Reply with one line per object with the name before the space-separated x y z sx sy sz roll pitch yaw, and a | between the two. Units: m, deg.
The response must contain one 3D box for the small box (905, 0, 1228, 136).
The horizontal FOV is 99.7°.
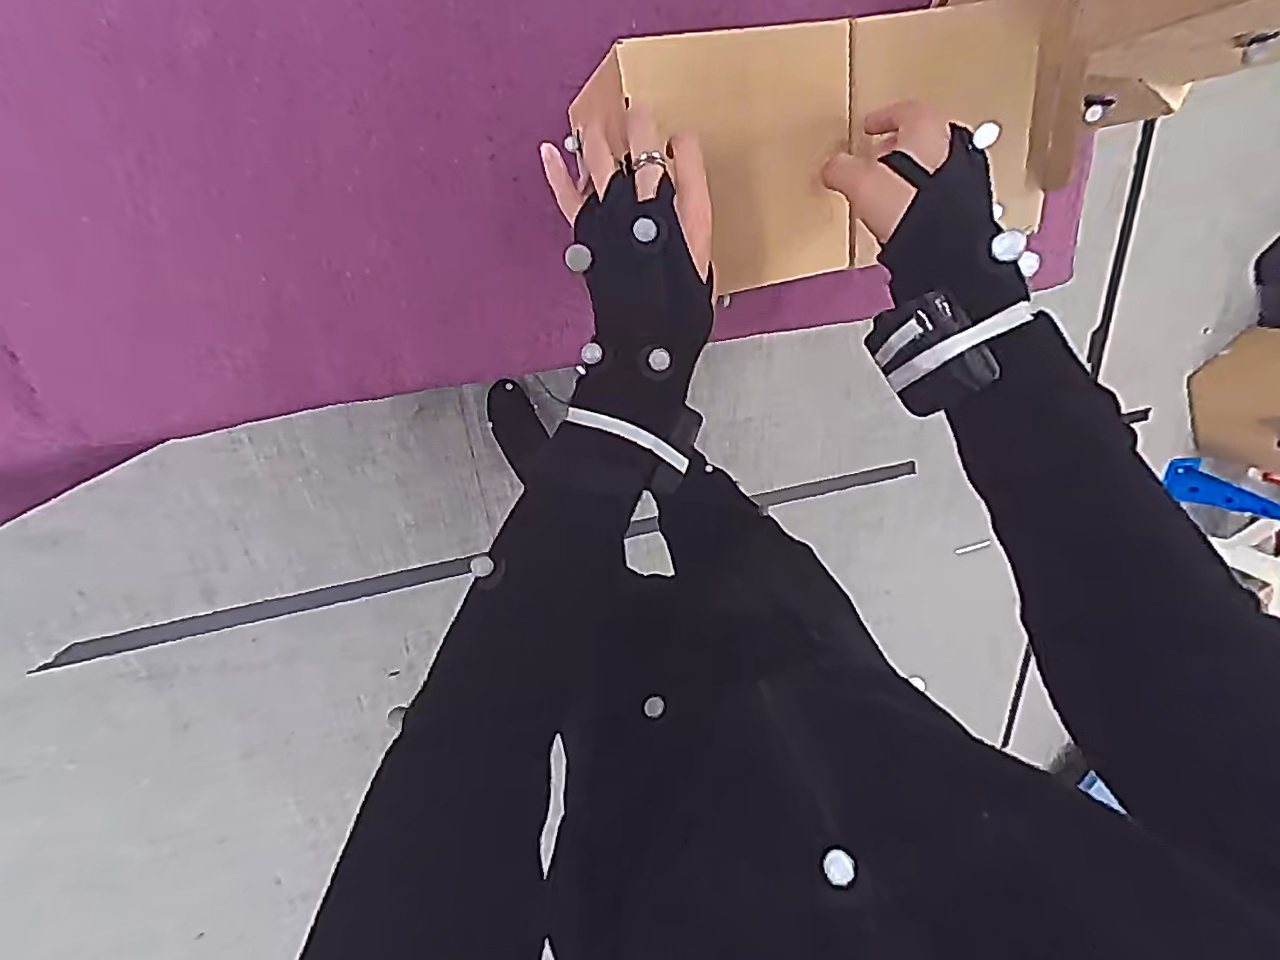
small box | 0.392 -0.444 0.495 0.179 0.176 0.168 13 106 -22
